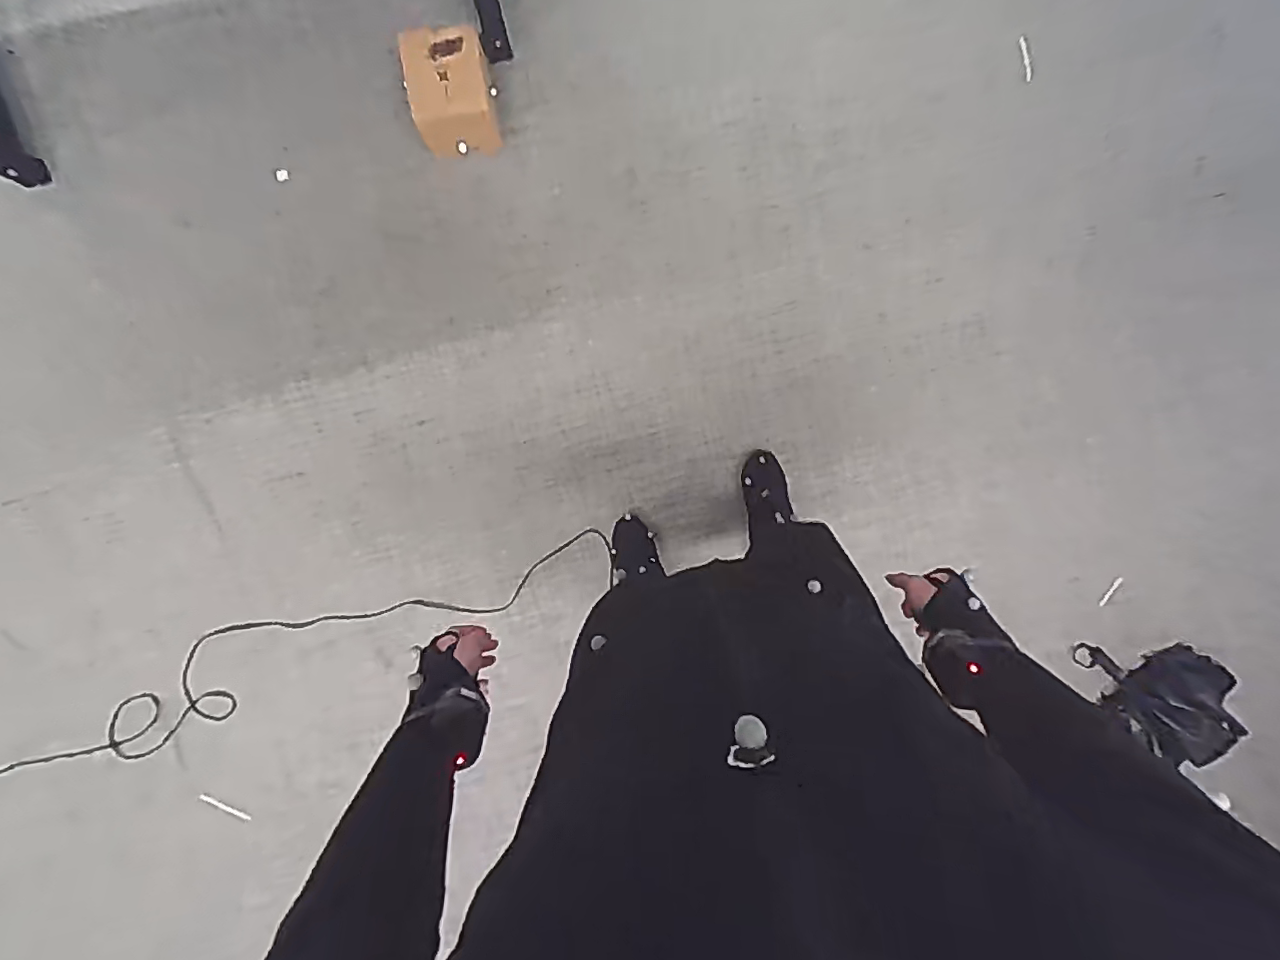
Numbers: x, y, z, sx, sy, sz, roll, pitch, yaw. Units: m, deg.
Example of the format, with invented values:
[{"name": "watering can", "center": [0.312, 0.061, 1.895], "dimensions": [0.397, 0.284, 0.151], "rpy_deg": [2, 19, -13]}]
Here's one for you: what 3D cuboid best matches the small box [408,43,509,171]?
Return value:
[{"name": "small box", "center": [-0.412, -0.853, 1.252], "dimensions": [0.168, 0.176, 0.179], "rpy_deg": [-10, 94, -1]}]
